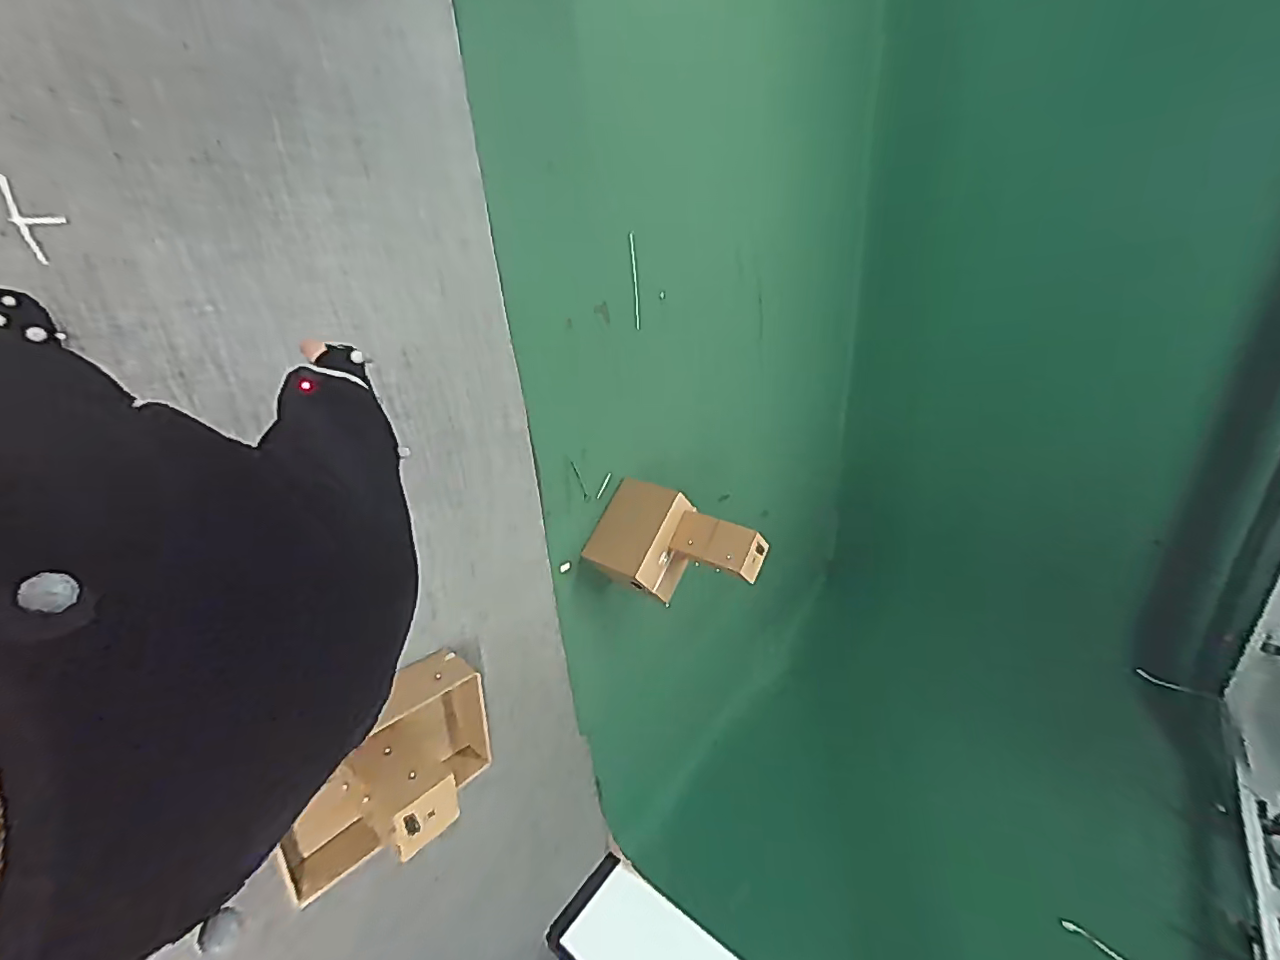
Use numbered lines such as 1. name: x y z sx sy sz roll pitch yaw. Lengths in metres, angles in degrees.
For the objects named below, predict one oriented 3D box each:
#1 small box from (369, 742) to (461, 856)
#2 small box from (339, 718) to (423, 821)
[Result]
1. small box: -0.630 0.880 1.506 0.179 0.176 0.168 -23 119 -48
2. small box: -0.758 0.849 1.606 0.179 0.176 0.168 -23 118 -46
